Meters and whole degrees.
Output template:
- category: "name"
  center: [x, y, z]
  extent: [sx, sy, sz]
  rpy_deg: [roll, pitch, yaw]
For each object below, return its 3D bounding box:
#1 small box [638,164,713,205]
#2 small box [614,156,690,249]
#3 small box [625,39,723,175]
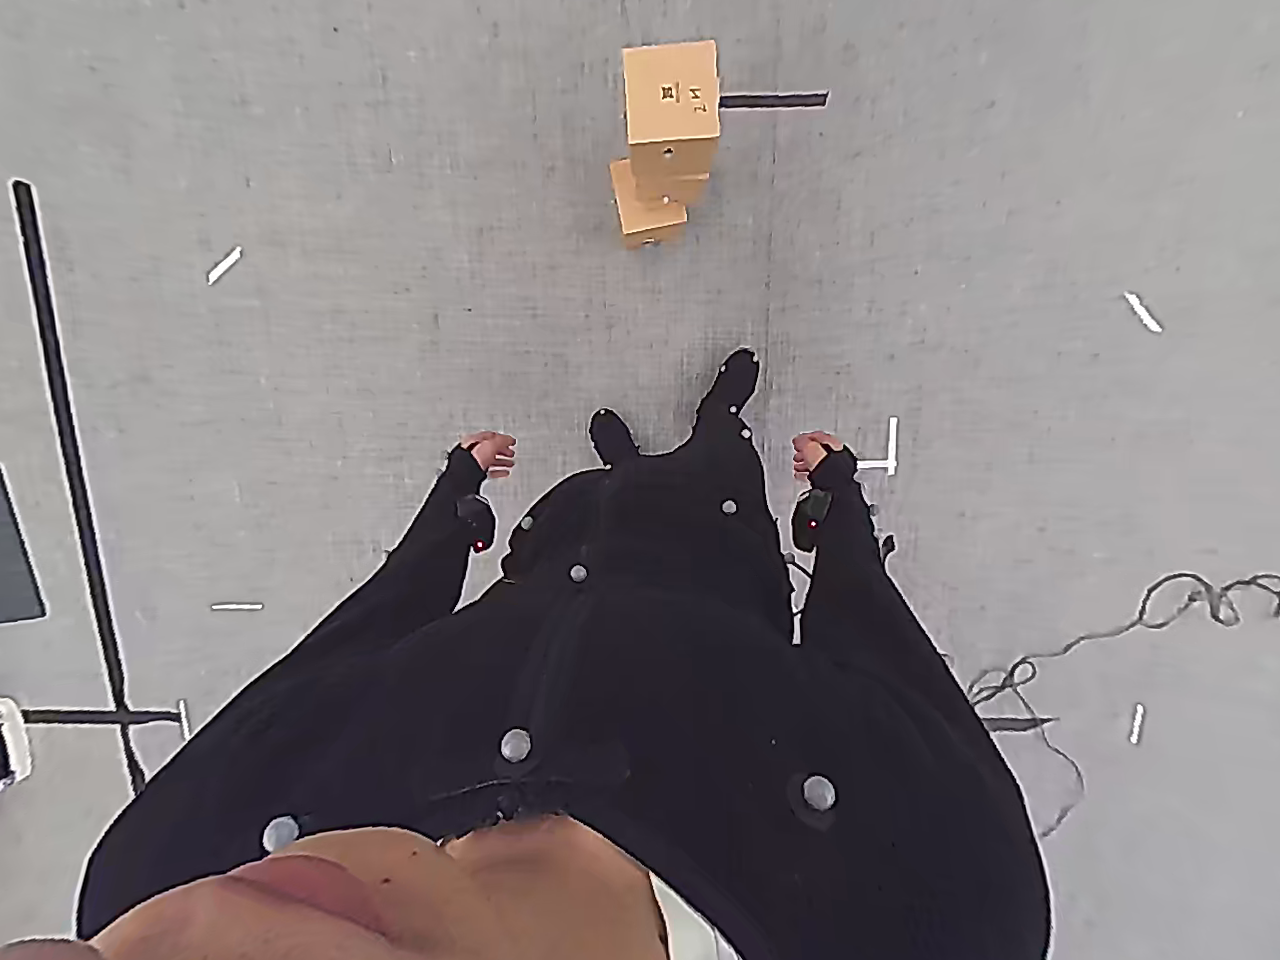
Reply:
- category: "small box"
  center: [0.082, -0.753, 1.233]
  extent: [0.168, 0.176, 0.179]
  rpy_deg: [4, 100, 0]
- category: "small box"
  center: [0.029, -0.724, 1.404]
  extent: [0.168, 0.176, 0.179]
  rpy_deg: [-11, 100, 2]
- category: "small box"
  center: [0.066, -0.725, 1.071]
  extent: [0.179, 0.176, 0.168]
  rpy_deg: [-3, 100, 1]
